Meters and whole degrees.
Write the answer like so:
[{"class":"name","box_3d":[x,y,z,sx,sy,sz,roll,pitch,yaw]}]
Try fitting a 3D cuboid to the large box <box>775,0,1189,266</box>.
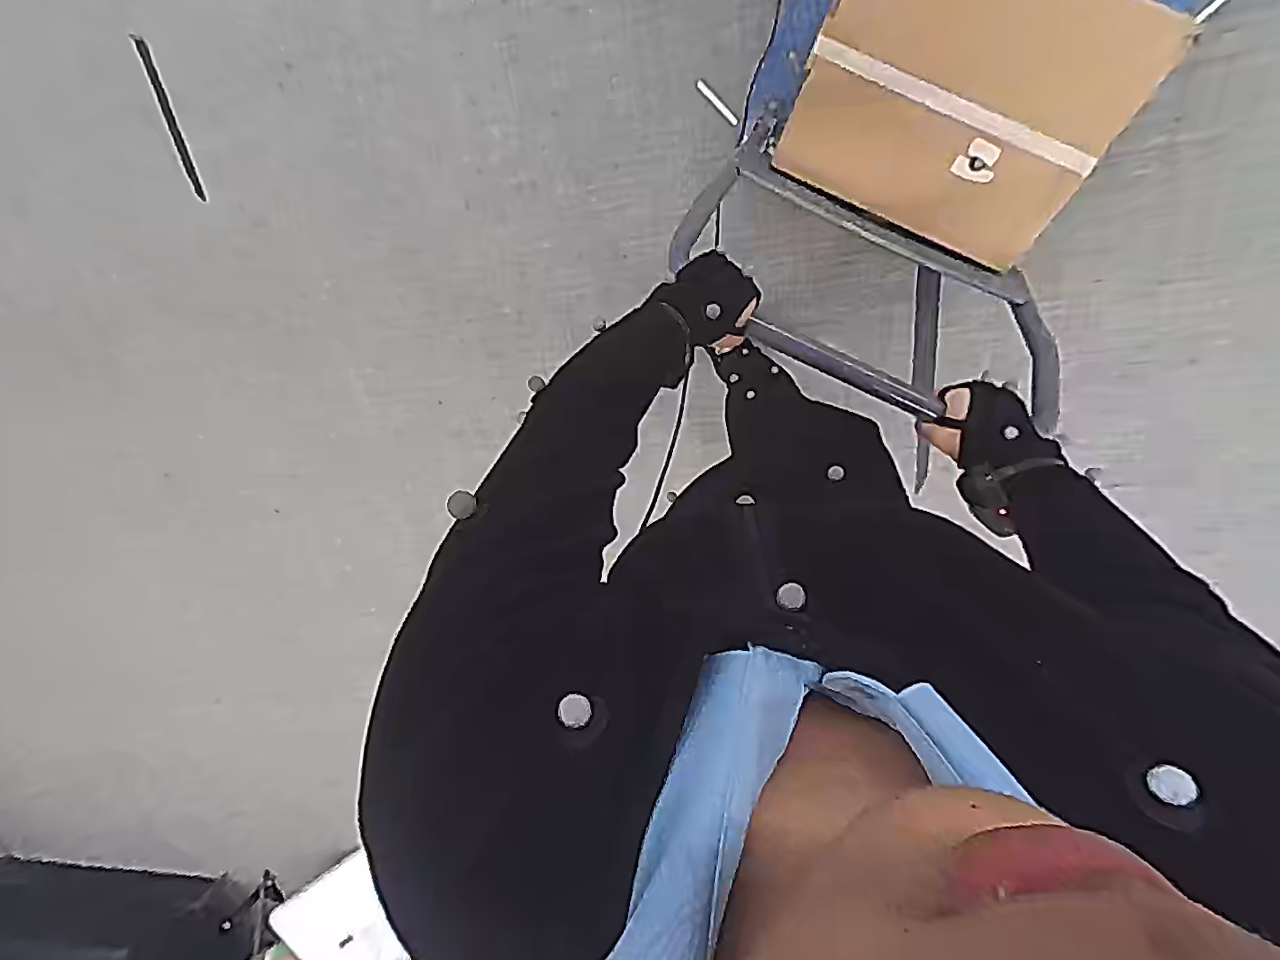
[{"class":"large box","box_3d":[0.475,-0.605,0.861,0.408,0.320,0.320,25,132,0]}]
